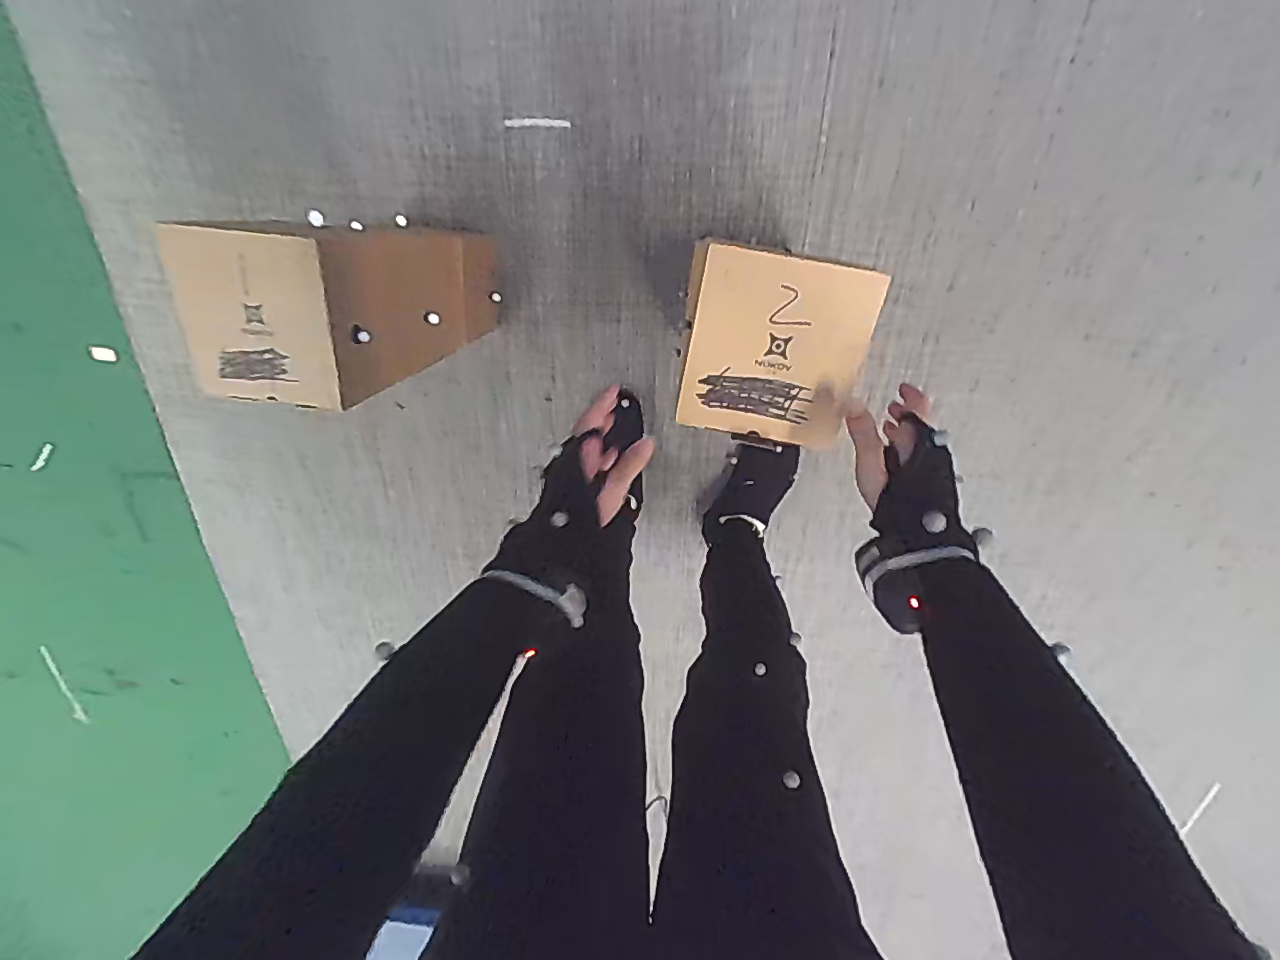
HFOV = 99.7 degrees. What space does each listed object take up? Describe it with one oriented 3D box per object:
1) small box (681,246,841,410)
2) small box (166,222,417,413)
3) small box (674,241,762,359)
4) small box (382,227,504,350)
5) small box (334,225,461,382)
[{"bbox_3d":[0.151,-0.214,0.738,0.168,0.176,0.179,9,116,2],"label":"small box"},{"bbox_3d":[-0.377,-0.195,0.627,0.168,0.176,0.179,8,116,3],"label":"small box"},{"bbox_3d":[0.160,-0.281,0.884,0.168,0.176,0.179,16,117,1],"label":"small box"},{"bbox_3d":[-0.347,-0.332,0.923,0.179,0.176,0.168,9,117,2],"label":"small box"},{"bbox_3d":[-0.370,-0.260,0.779,0.168,0.176,0.179,9,117,3],"label":"small box"}]
